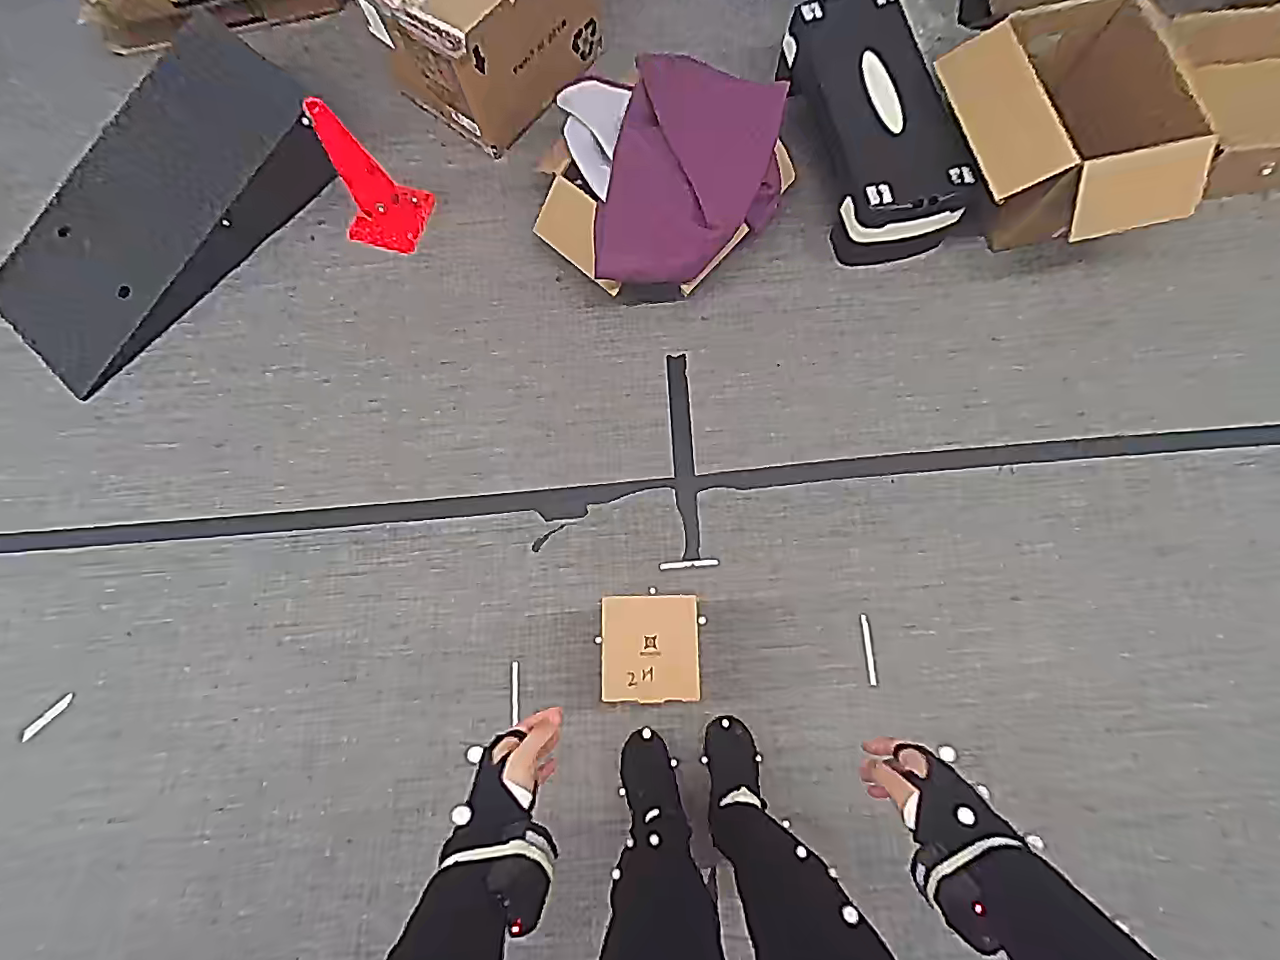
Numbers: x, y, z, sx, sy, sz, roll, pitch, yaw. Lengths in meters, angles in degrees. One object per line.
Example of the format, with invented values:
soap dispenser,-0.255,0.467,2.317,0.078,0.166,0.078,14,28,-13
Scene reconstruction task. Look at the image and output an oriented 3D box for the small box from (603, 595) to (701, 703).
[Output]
small box,0.022,0.302,0.991,0.168,0.176,0.179,-1,78,2
